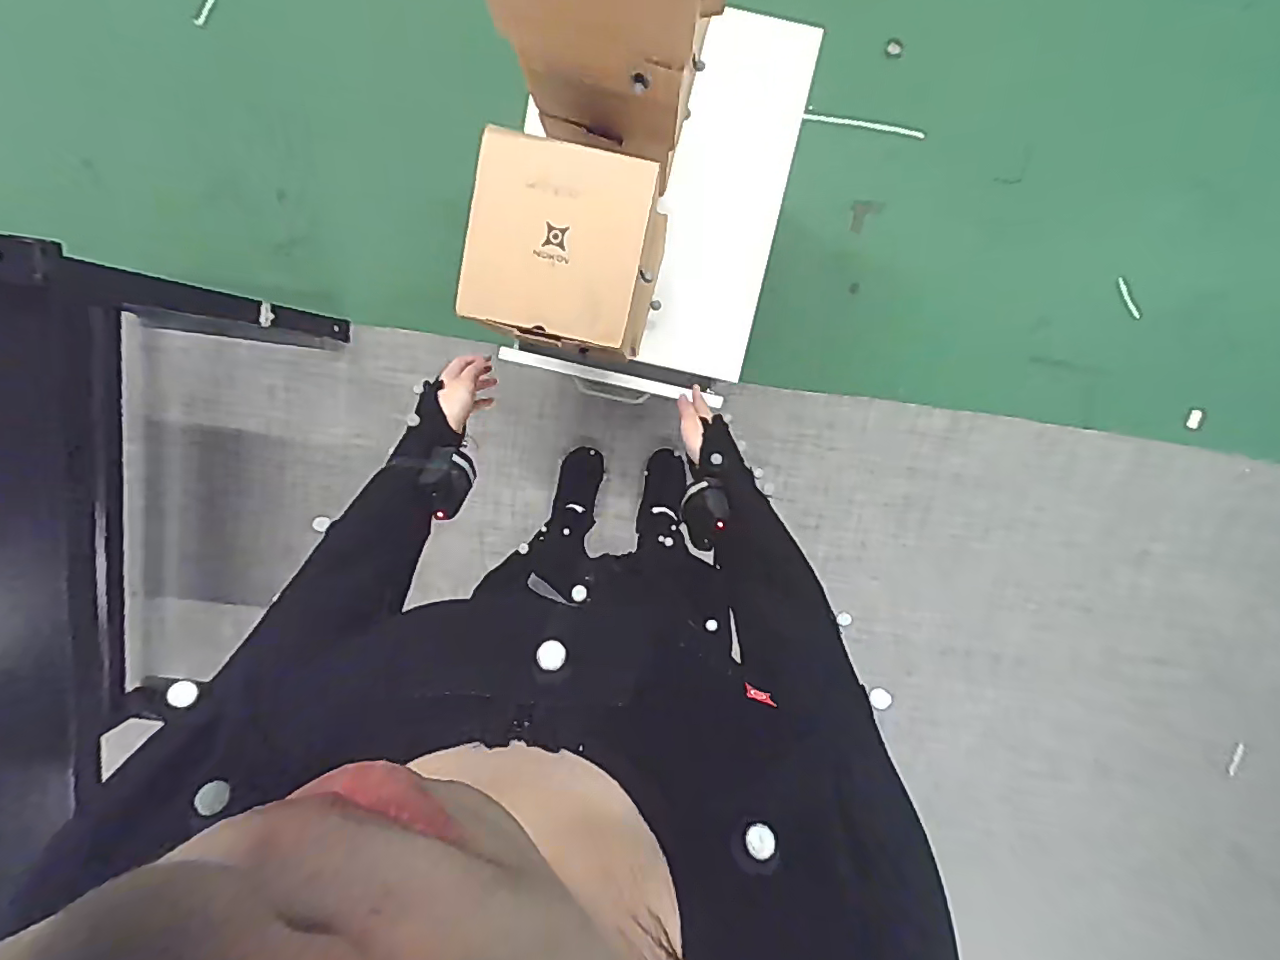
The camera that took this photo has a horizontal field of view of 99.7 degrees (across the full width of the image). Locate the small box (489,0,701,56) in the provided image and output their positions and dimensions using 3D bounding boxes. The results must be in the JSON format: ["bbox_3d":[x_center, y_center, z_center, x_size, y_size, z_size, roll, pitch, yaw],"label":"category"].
[{"bbox_3d":[-0.030,-0.441,0.378,0.179,0.176,0.168,8,100,-2],"label":"small box"}]

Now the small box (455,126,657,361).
[{"bbox_3d":[-0.079,-0.230,0.578,0.168,0.176,0.179,11,98,-2],"label":"small box"}]

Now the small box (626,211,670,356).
[{"bbox_3d":[-0.067,-0.272,0.734,0.179,0.176,0.168,14,98,-2],"label":"small box"}]

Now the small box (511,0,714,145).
[{"bbox_3d":[-0.023,-0.472,0.540,0.179,0.176,0.168,15,99,-3],"label":"small box"}]
